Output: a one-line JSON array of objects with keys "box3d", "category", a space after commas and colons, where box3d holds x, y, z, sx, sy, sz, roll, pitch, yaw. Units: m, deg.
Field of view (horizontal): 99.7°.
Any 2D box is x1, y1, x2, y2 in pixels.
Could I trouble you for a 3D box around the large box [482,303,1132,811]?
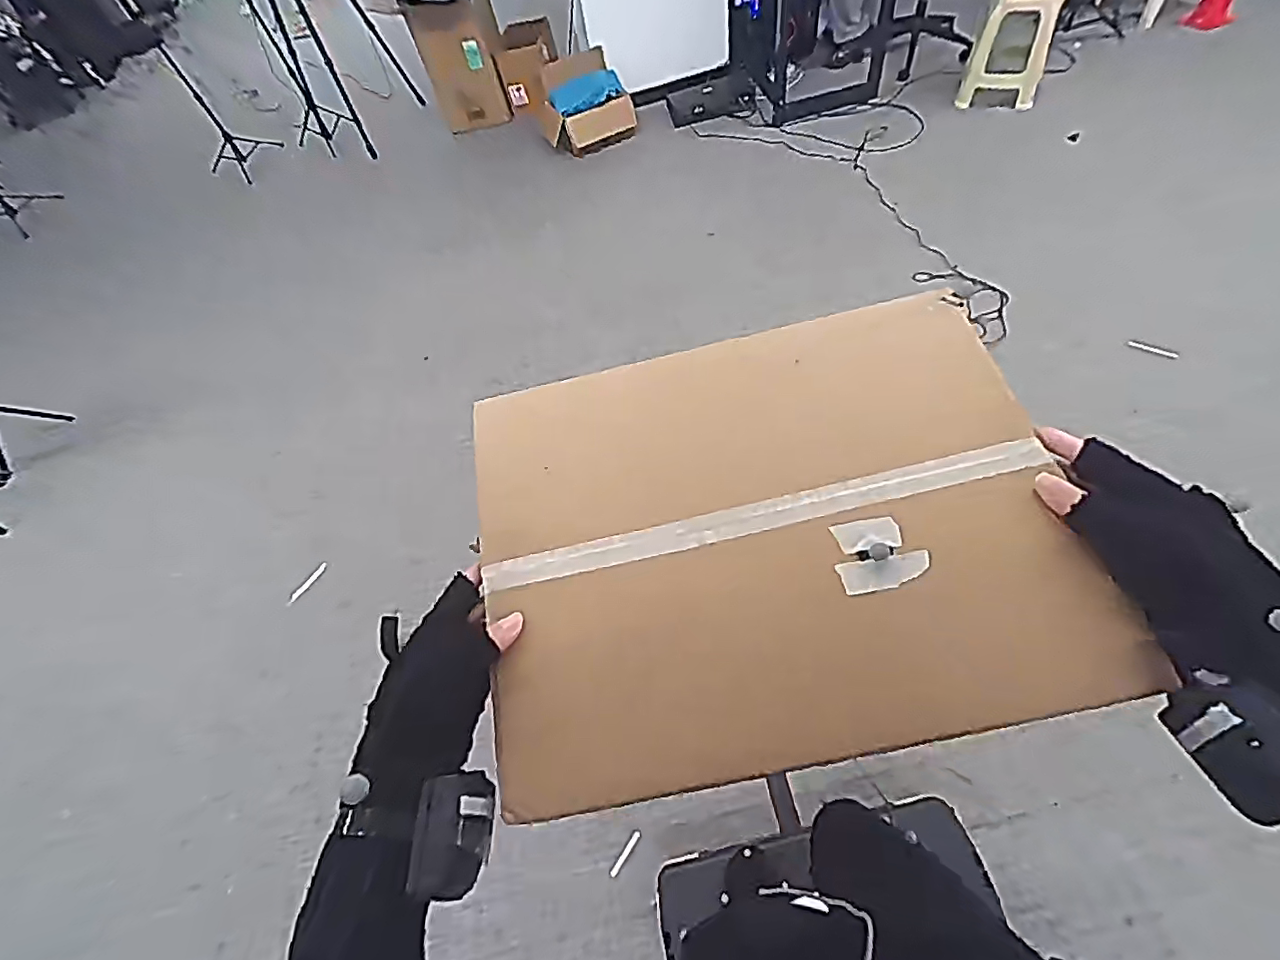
[{"box3d": [0.102, 0.091, 0.535, 0.408, 0.320, 0.320, -14, 66, 2], "category": "large box"}]
